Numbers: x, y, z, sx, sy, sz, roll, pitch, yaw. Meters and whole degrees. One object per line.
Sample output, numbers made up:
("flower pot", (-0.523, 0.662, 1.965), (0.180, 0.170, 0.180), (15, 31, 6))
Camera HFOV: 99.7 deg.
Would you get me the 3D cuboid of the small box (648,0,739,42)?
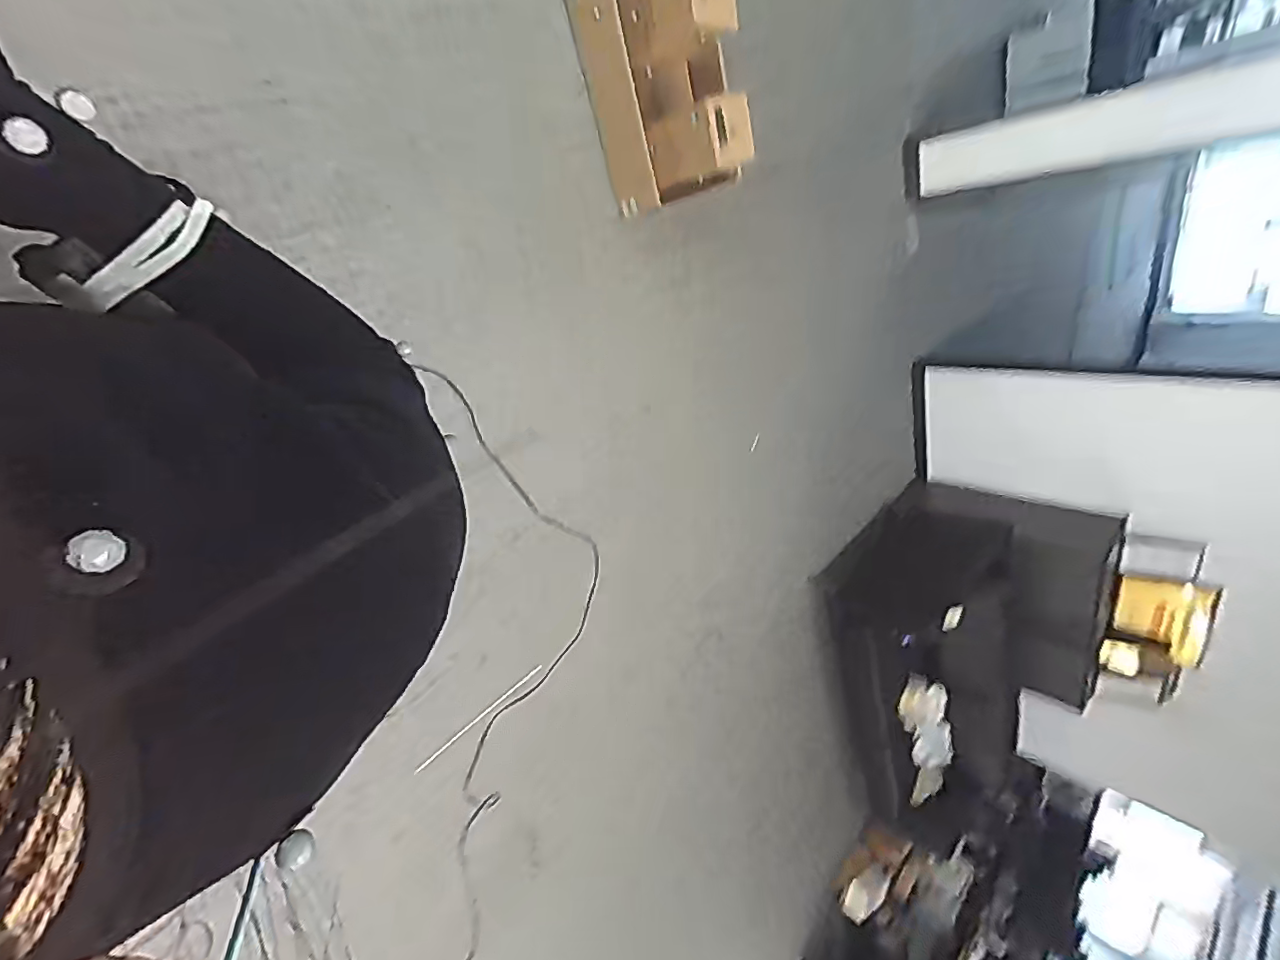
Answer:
("small box", (0.130, -1.265, 1.399), (0.179, 0.176, 0.168), (-30, 121, -33))
